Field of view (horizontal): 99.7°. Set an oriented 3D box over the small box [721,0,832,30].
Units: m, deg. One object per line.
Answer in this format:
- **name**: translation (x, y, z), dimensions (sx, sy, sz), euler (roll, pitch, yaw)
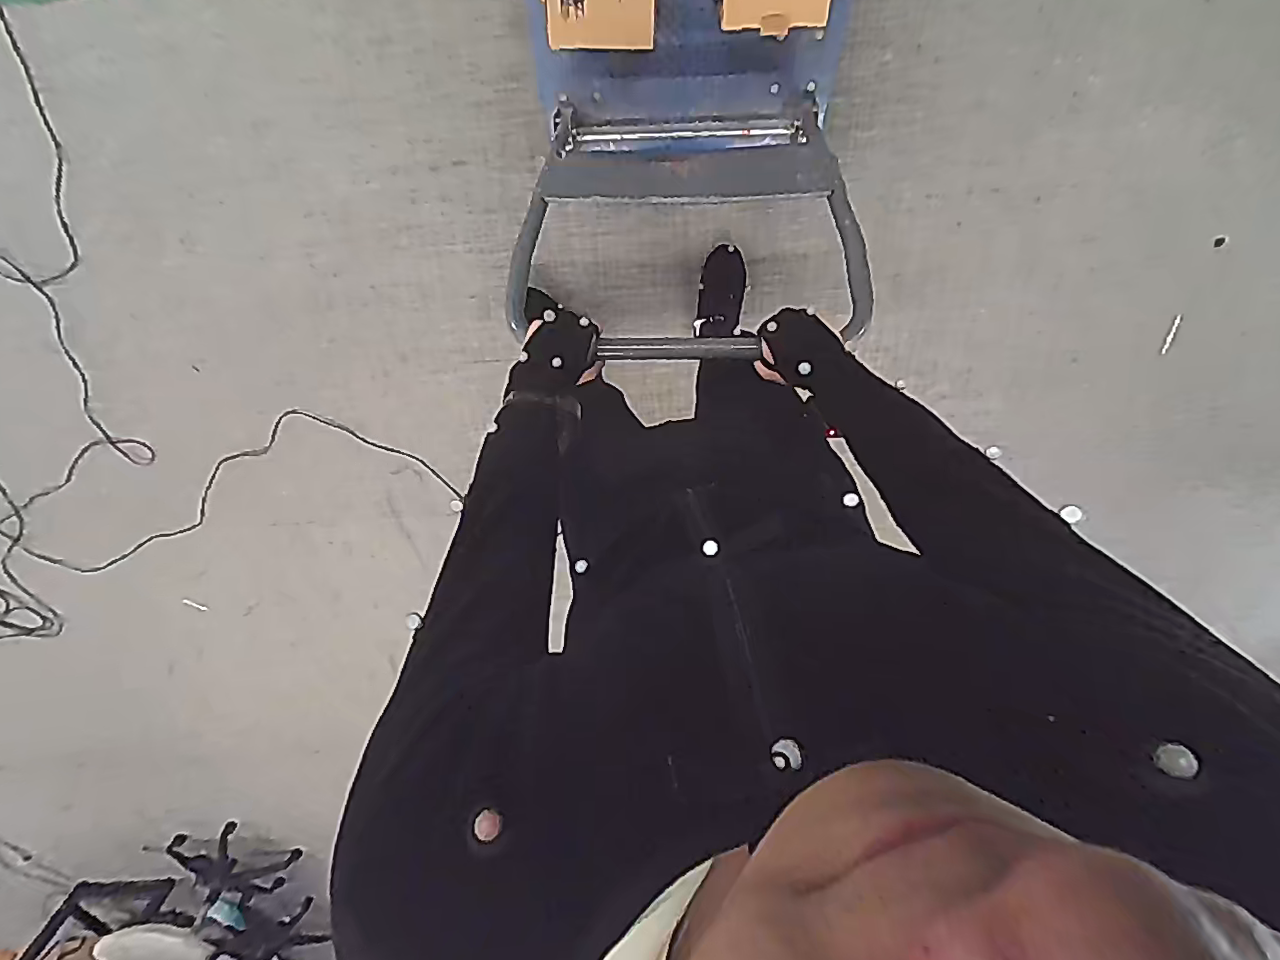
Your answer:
- **small box**: translation (0.217, -0.837, 0.851), dimensions (0.168, 0.176, 0.179), euler (1, 139, 4)
